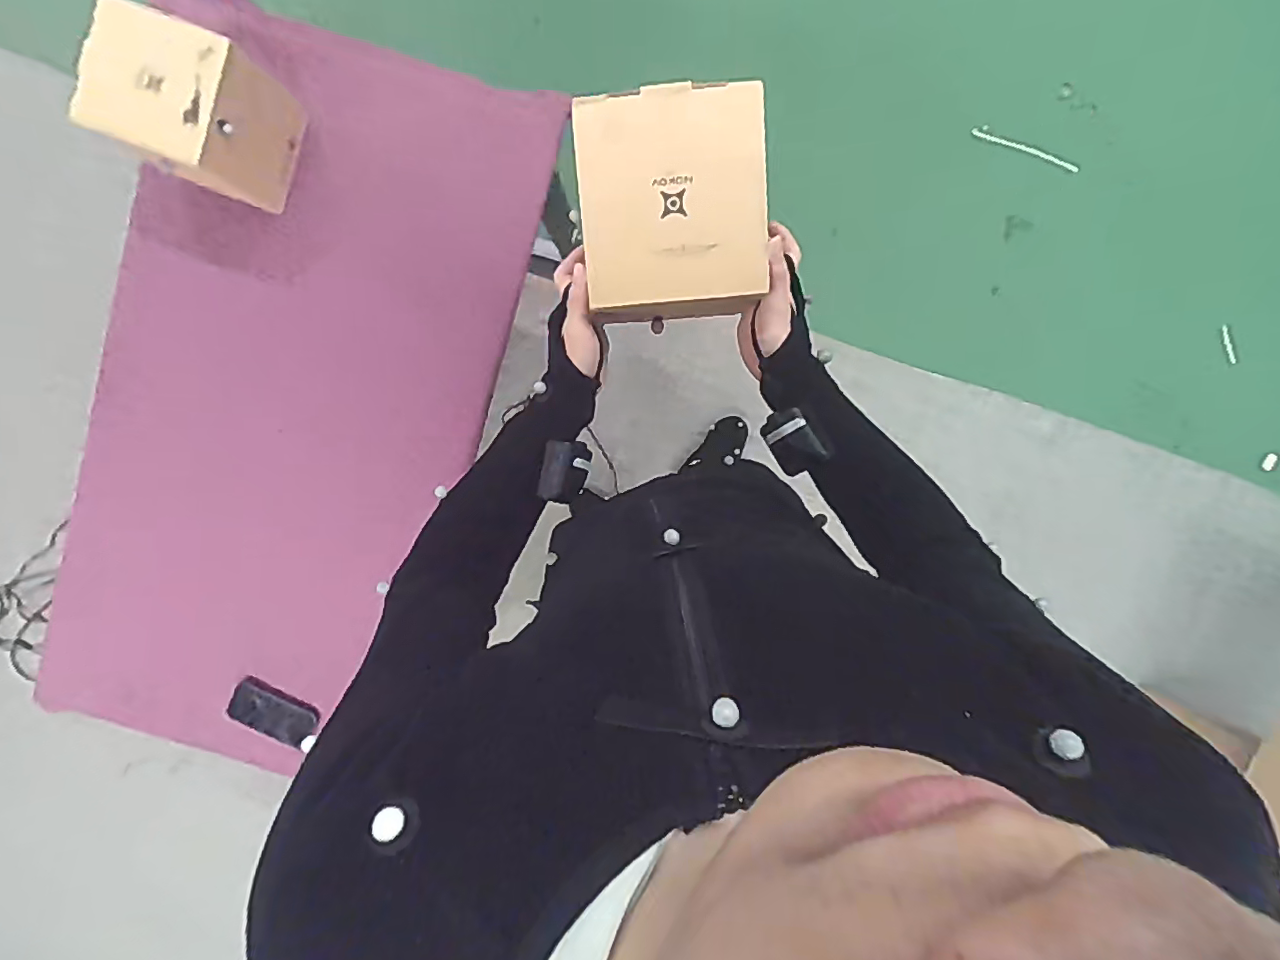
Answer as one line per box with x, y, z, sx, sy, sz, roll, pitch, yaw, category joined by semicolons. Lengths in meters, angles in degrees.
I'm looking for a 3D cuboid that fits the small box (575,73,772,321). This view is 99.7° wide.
0.031;-0.261;0.540;0.168;0.176;0.179;-4;101;2;small box

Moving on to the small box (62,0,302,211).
-0.633;-0.514;0.767;0.179;0.176;0.168;20;96;-1;small box
